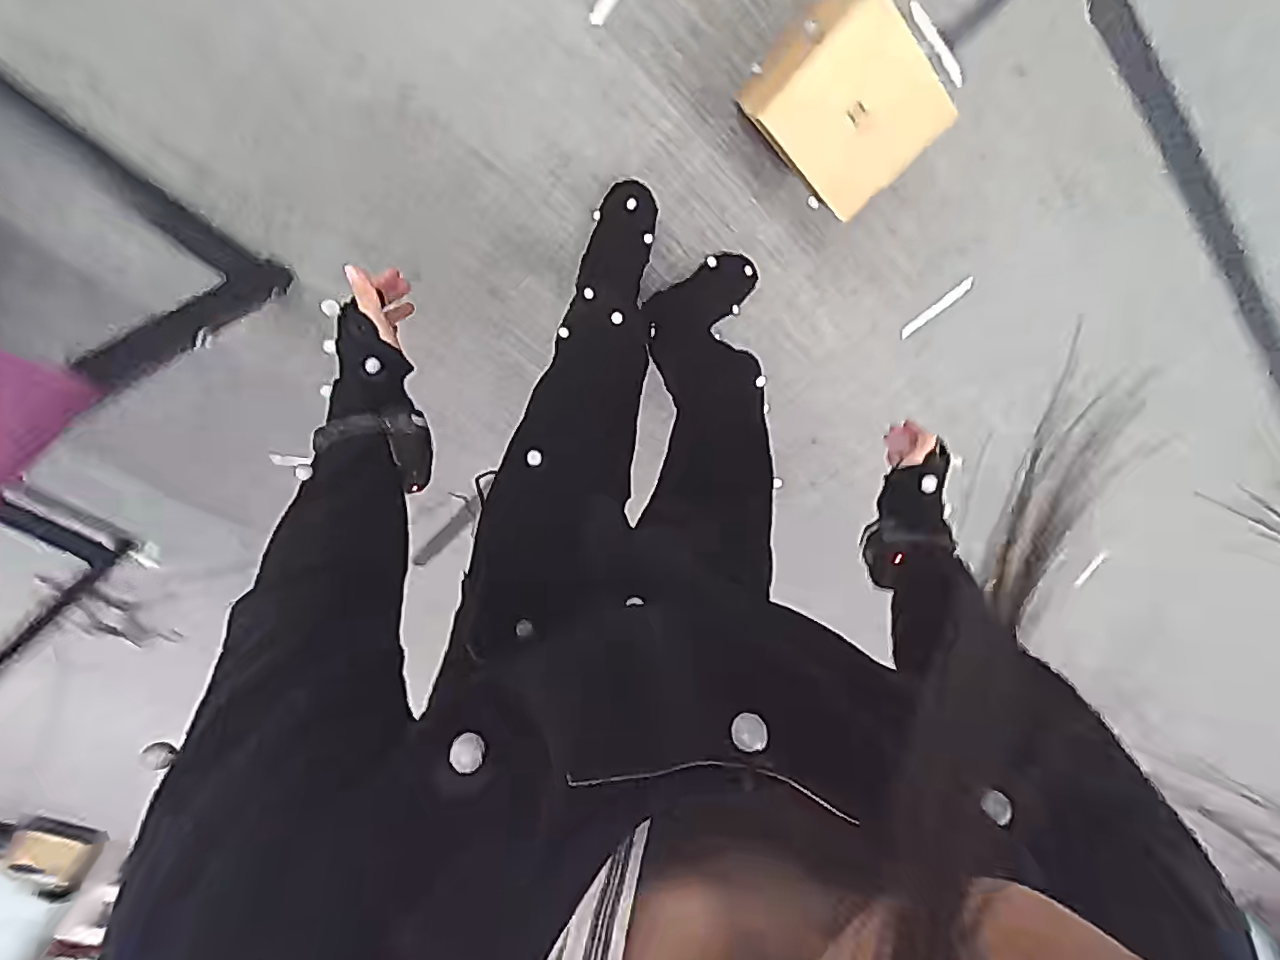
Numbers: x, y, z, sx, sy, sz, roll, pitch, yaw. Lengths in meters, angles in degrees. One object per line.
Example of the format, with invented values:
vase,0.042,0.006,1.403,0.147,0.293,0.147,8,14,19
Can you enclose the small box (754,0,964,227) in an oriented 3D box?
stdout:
small box,0.270,-0.473,0.706,0.179,0.176,0.168,36,121,-25

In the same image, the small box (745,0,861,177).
small box,0.278,-0.580,0.829,0.168,0.176,0.179,36,120,-24
